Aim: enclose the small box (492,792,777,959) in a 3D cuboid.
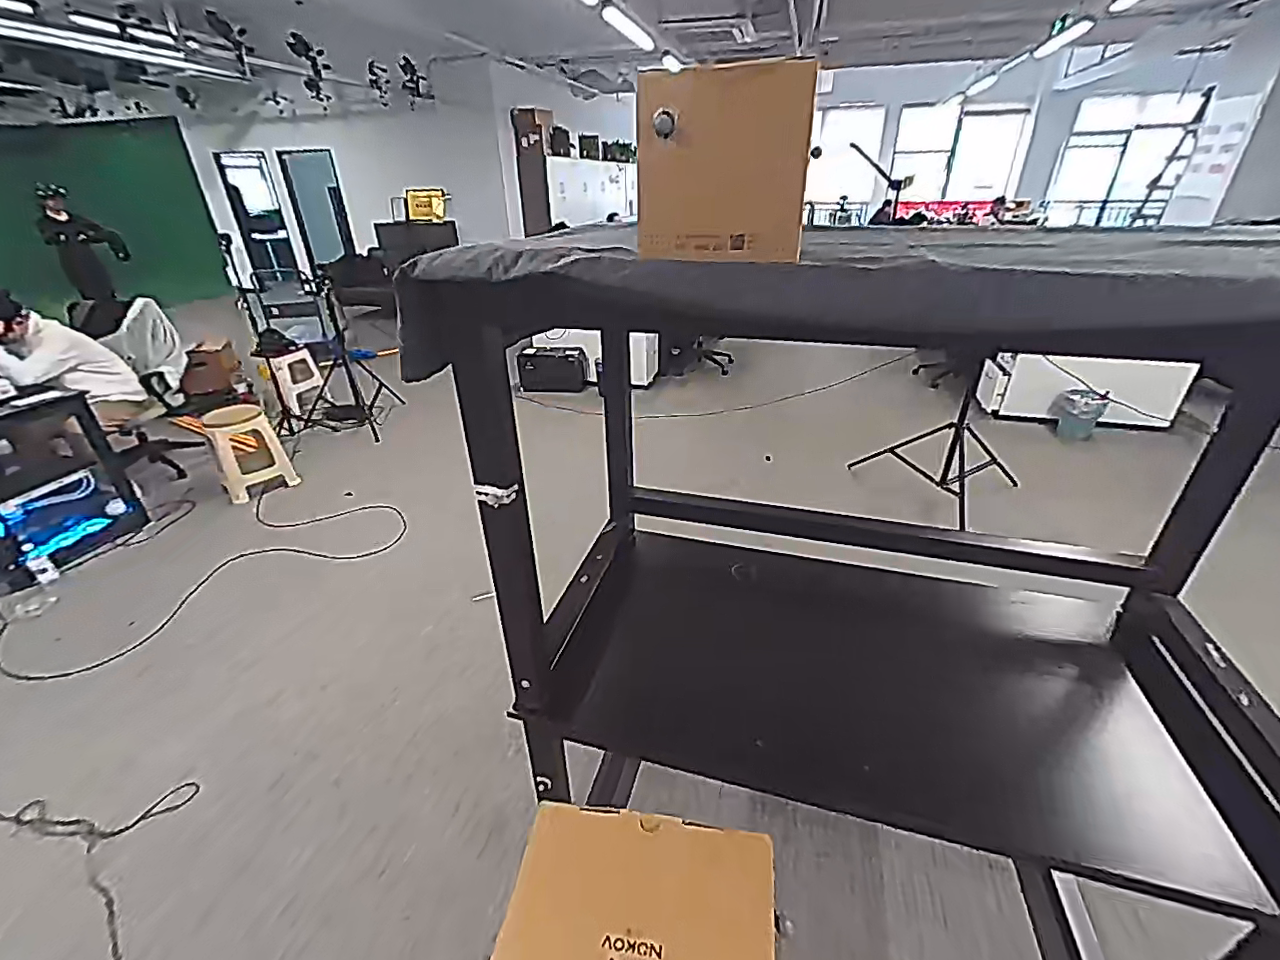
[{"bbox_3d":[0.002,0.343,0.350,0.168,0.176,0.179,2,32,11],"label":"small box"}]
